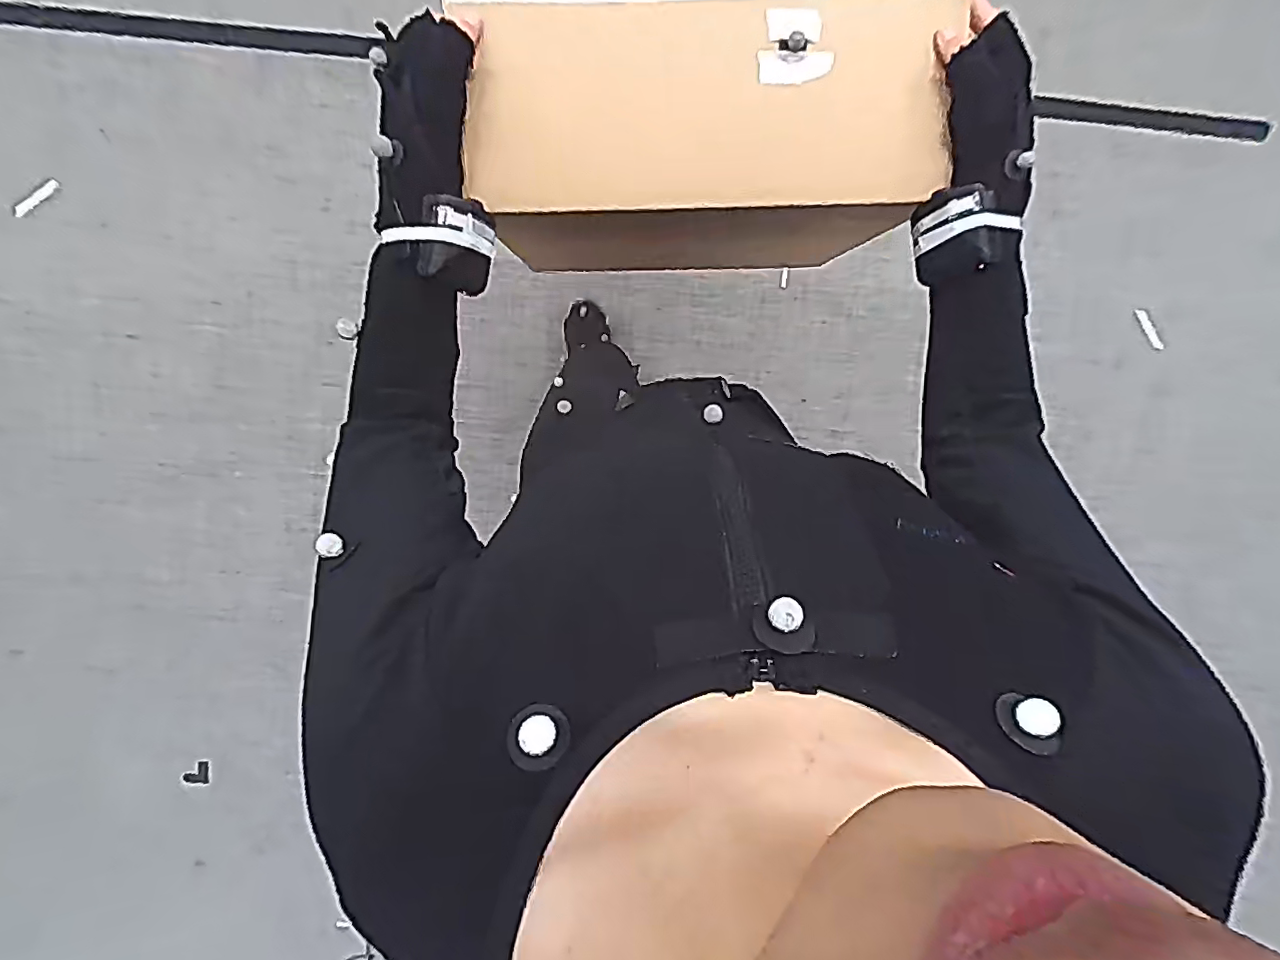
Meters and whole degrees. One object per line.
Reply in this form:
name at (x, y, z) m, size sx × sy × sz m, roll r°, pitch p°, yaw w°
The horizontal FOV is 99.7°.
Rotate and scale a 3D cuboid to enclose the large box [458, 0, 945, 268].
large box at (0.045, -0.423, 0.580) m, size 0.408 × 0.320 × 0.320 m, roll -2°, pitch 103°, yaw -2°
